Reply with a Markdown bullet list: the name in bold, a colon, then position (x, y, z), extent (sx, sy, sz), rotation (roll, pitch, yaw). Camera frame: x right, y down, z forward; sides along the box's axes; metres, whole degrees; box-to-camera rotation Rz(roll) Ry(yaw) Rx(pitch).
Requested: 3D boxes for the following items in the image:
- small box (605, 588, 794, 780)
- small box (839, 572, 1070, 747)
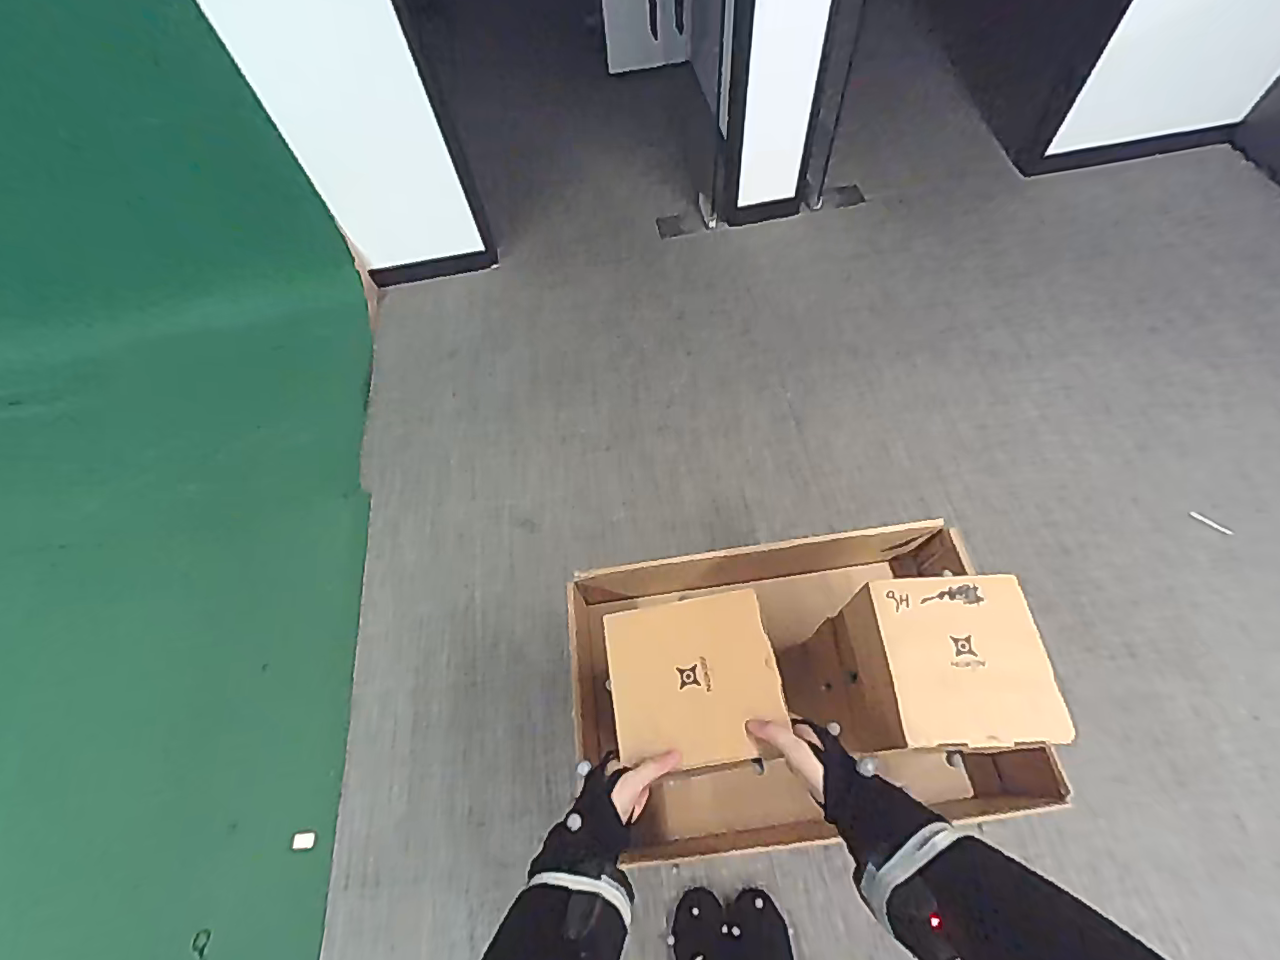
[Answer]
- **small box**: position (0.067, 0.247, 0.637), extent (0.179, 0.176, 0.168), rotation (-11, 58, 2)
- **small box**: position (0.349, 0.219, 0.644), extent (0.168, 0.176, 0.179), rotation (-3, 63, 5)
